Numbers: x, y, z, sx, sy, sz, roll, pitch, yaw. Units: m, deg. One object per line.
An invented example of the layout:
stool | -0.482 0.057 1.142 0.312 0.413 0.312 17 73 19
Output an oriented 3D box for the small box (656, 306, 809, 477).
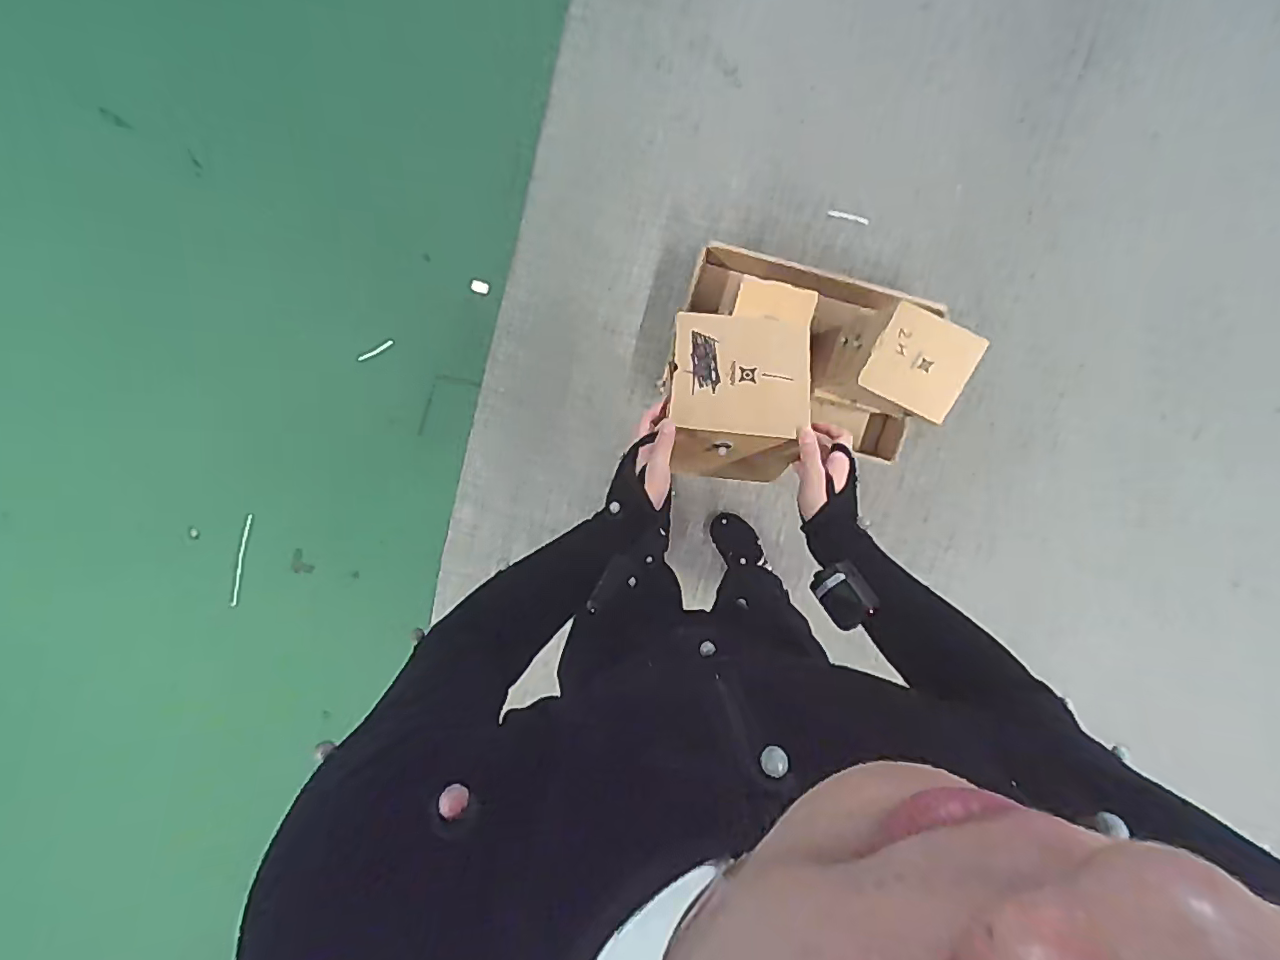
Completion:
small box | 0.116 -0.110 0.733 0.179 0.176 0.168 6 72 -1

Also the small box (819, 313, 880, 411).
small box | 0.524 -0.252 1.197 0.179 0.176 0.168 20 98 4

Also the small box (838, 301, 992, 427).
small box | 0.511 -0.216 1.035 0.179 0.176 0.168 28 99 3

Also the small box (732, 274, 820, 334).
small box | 0.283 -0.337 1.216 0.168 0.176 0.179 15 97 2
